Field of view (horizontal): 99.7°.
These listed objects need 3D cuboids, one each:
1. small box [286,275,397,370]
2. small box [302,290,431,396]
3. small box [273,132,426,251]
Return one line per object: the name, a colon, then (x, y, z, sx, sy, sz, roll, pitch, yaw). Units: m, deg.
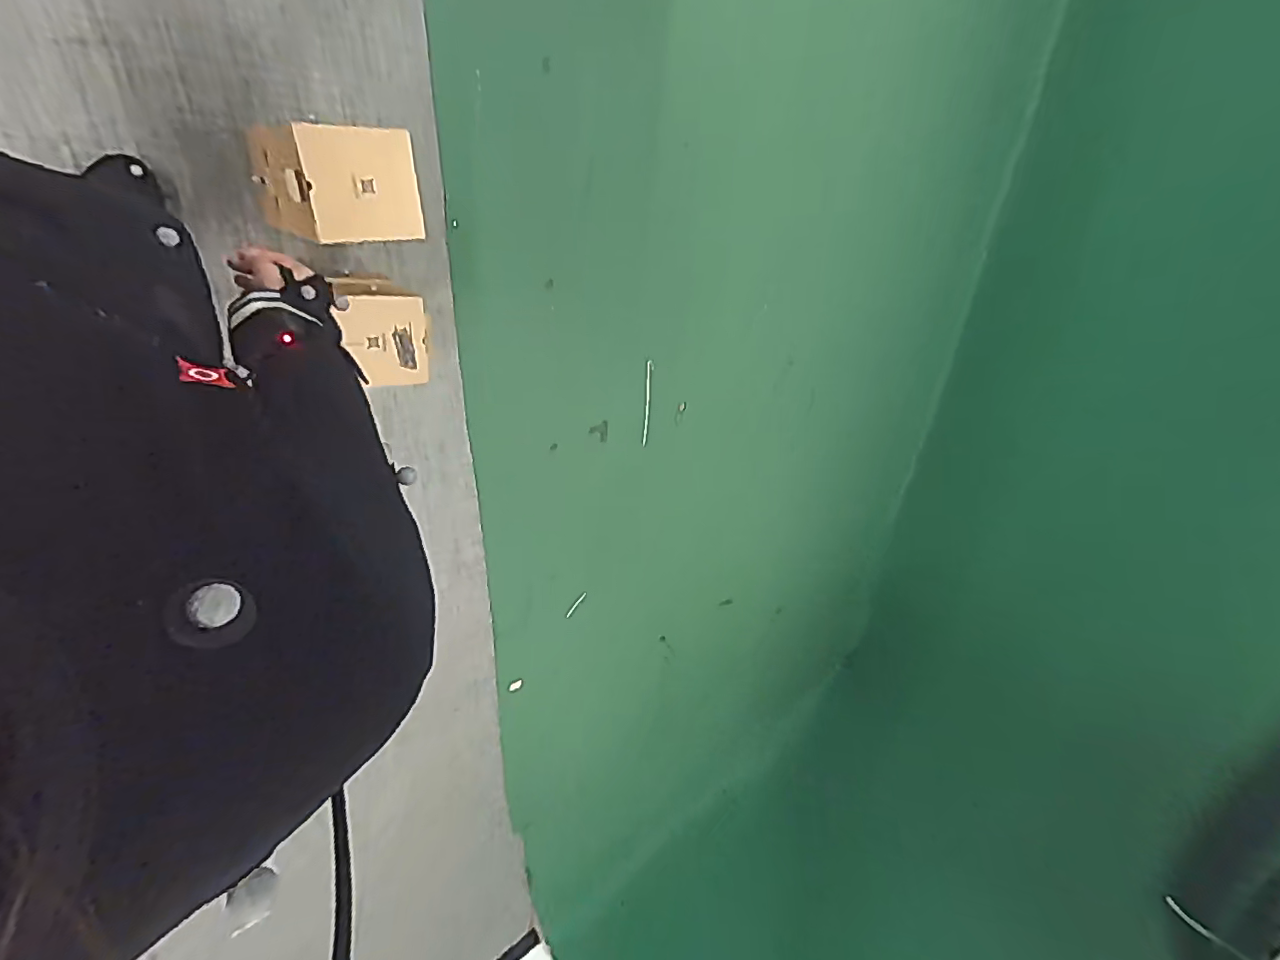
small box: (-0.624, -0.338, 1.145, 0.179, 0.176, 0.168, -14, 120, -36)
small box: (-0.522, -0.269, 1.036, 0.179, 0.176, 0.168, -14, 120, -37)
small box: (-0.497, -0.496, 0.931, 0.179, 0.176, 0.168, -22, 126, -34)
